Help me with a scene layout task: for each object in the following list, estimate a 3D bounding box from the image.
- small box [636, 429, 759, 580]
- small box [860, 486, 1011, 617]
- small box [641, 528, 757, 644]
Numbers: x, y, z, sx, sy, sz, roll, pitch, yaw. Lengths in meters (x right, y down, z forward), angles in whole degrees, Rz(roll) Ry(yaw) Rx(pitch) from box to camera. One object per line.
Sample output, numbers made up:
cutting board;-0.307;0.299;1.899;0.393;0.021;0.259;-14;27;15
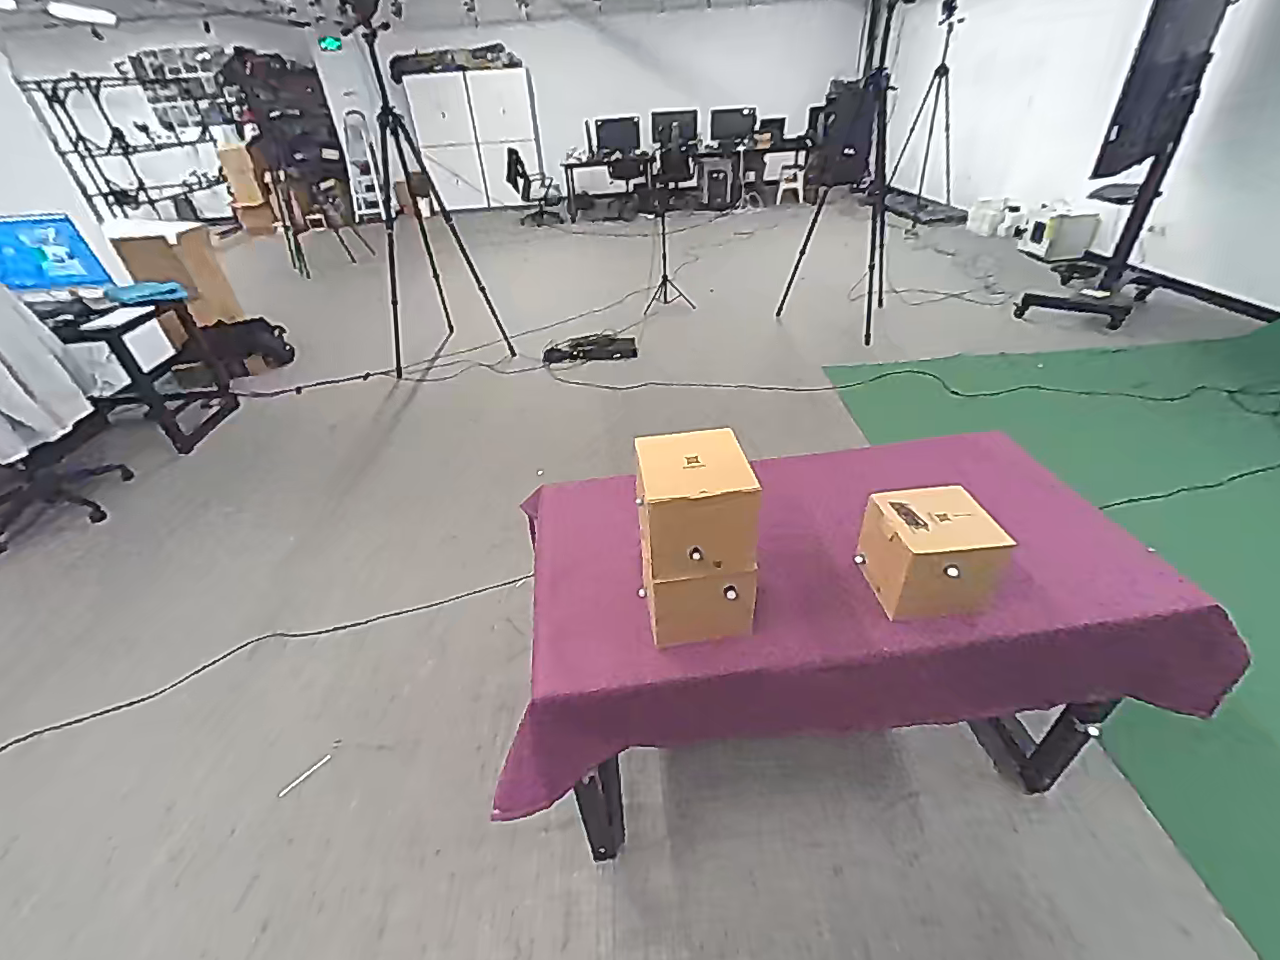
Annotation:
small box;0.085;0.038;0.883;0.168;0.176;0.179;-7;37;-4
small box;0.519;0.132;0.987;0.179;0.176;0.168;-5;36;-2
small box;0.098;0.172;0.975;0.179;0.176;0.168;-7;35;-4
